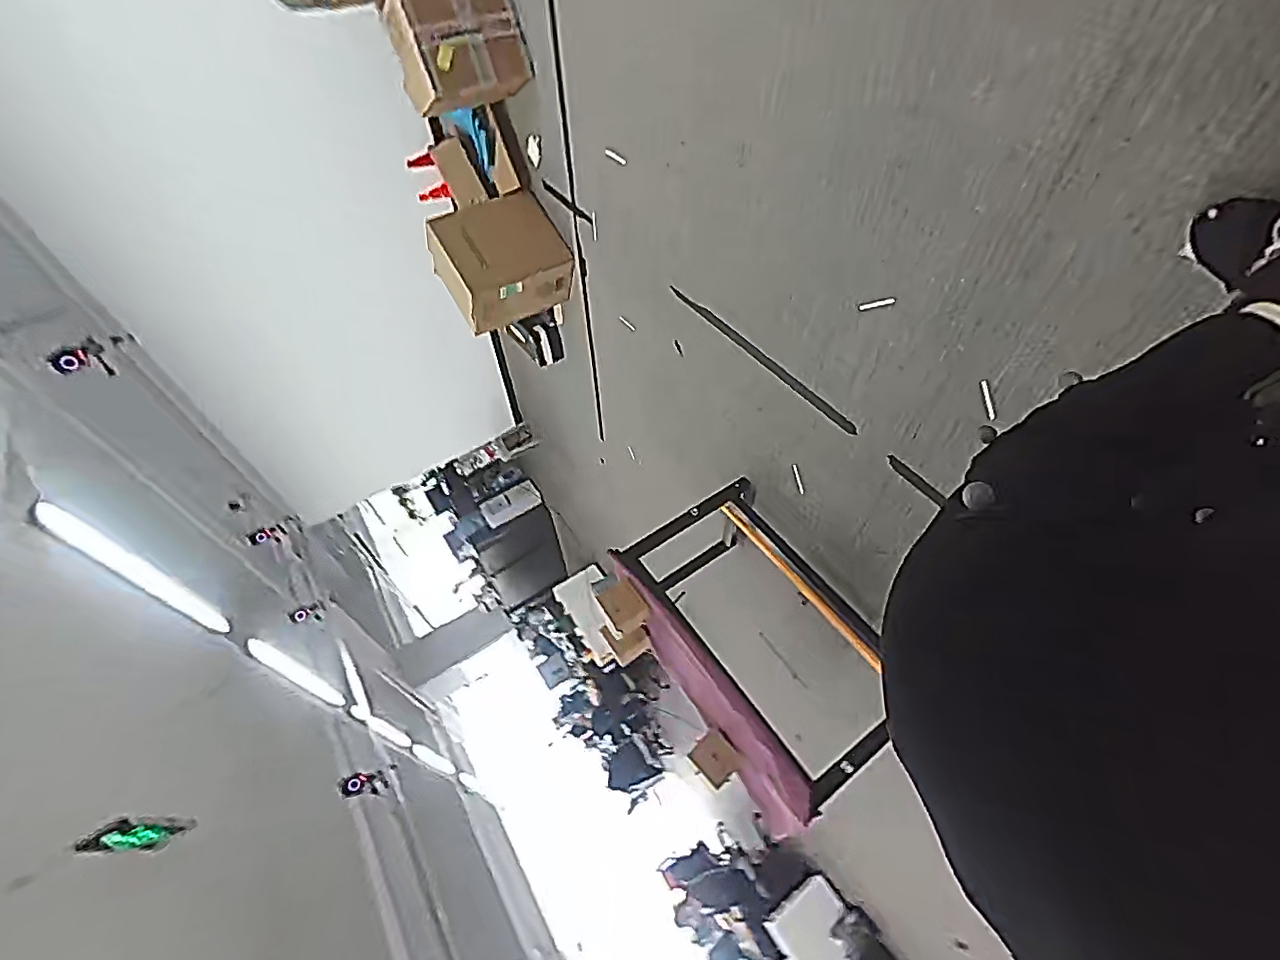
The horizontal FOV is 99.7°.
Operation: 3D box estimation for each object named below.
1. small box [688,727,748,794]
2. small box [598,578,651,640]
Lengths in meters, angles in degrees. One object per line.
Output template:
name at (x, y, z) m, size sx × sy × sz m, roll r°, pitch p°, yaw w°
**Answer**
small box at (0.315, 1.160, 2.227) m, size 0.179 × 0.168 × 0.176 m, roll 43°, pitch 156°, yaw 25°
small box at (-0.062, 0.566, 2.371) m, size 0.179 × 0.176 × 0.168 m, roll 50°, pitch 159°, yaw 28°
